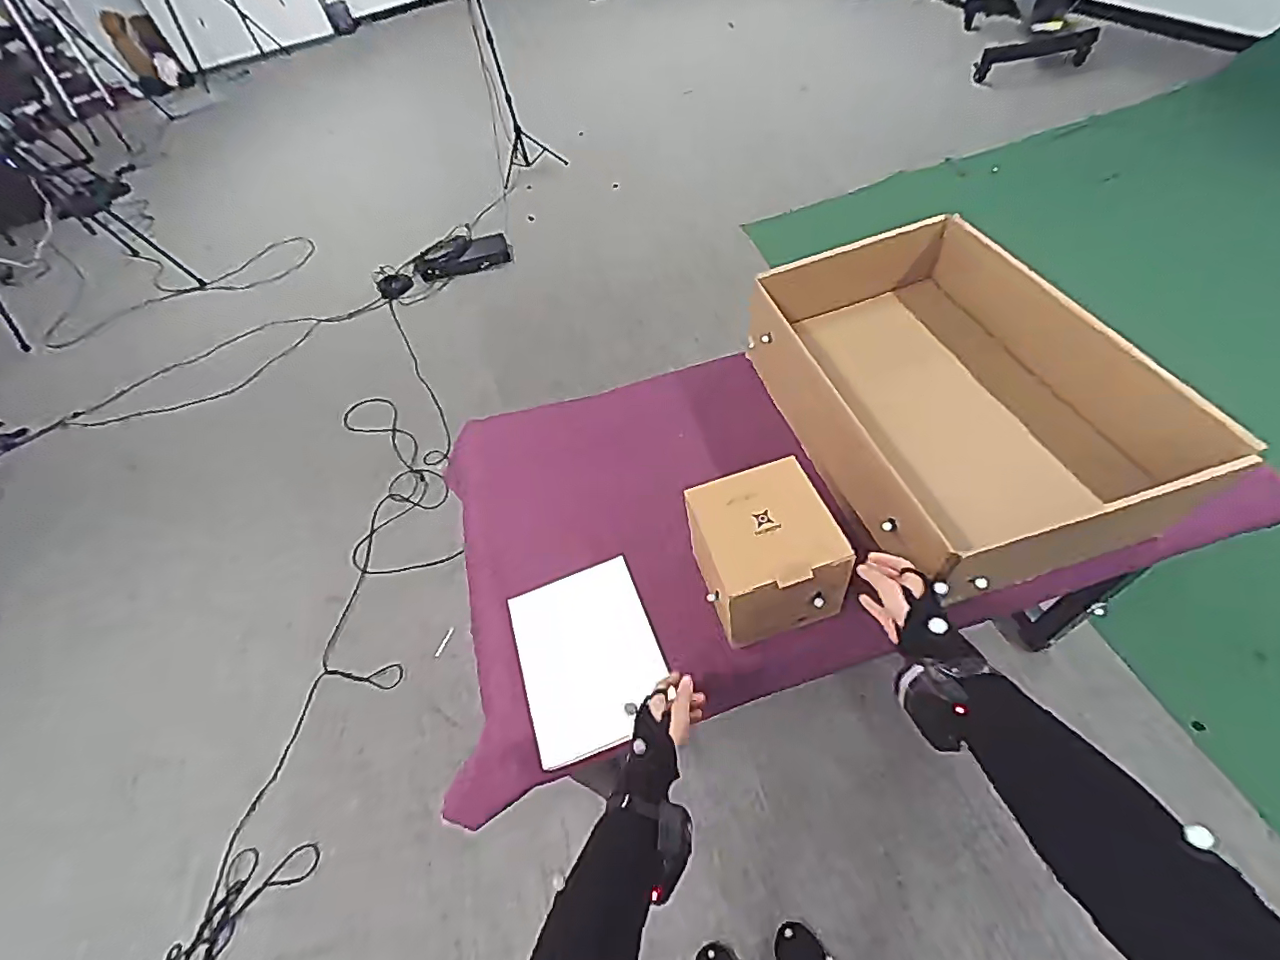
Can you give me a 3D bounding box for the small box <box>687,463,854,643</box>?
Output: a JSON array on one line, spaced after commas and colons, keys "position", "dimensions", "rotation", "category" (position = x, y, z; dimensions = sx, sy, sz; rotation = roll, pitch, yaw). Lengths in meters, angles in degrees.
[{"position": [0.175, 0.111, 0.760], "dimensions": [0.168, 0.176, 0.179], "rotation": [-17, 50, -3], "category": "small box"}]
